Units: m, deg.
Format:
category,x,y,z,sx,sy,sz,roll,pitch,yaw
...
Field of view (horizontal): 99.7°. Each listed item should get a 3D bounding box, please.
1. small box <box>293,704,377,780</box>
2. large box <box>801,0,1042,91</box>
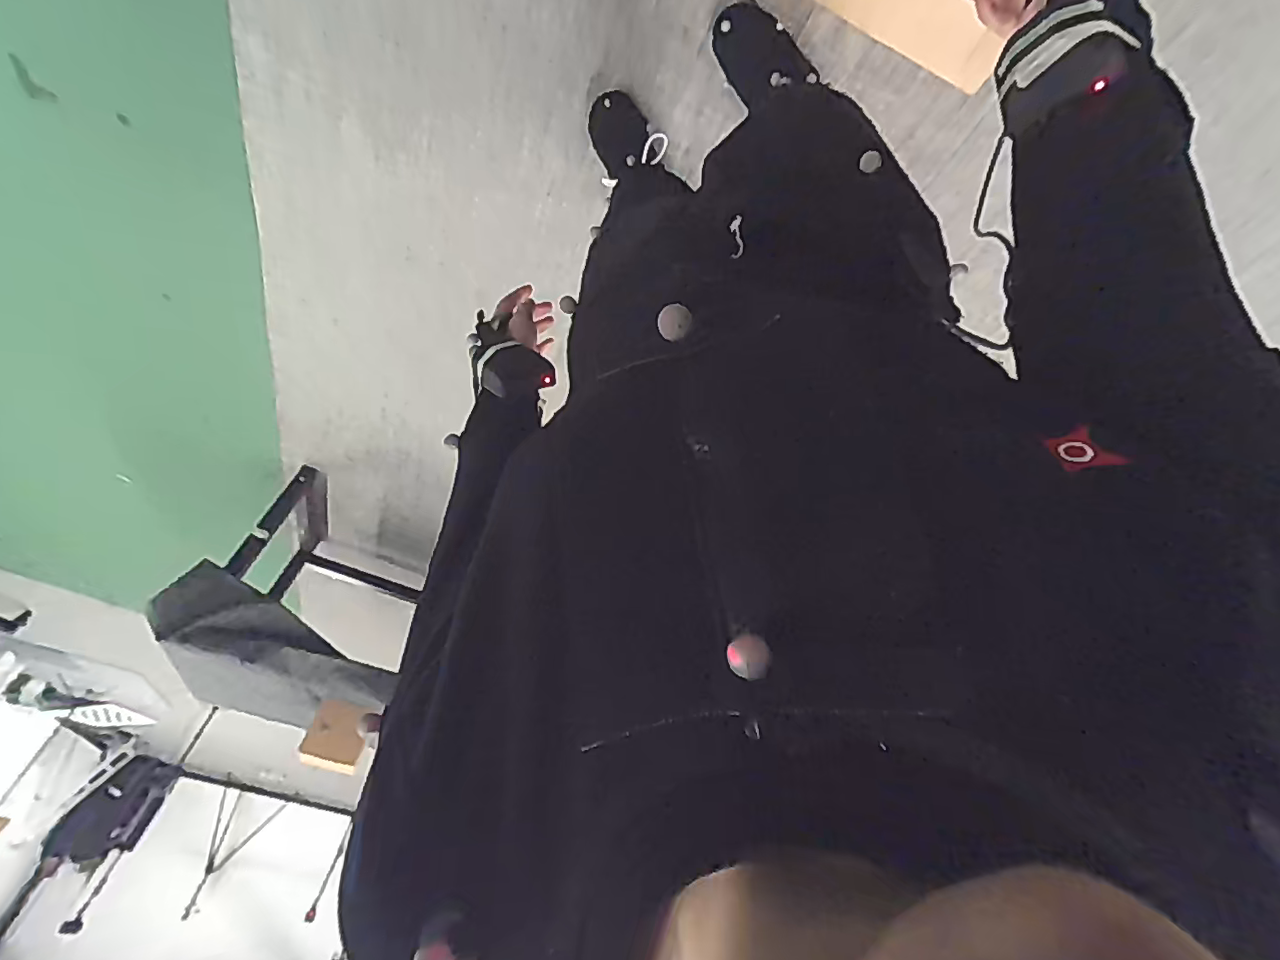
category,x,y,z,sx,sy,sz,roll,pitch,yaw
small box,-0.968,0.832,1.724,0.179,0.176,0.168,22,138,-12
large box,0.336,-0.780,0.677,0.408,0.320,0.320,20,138,-11
